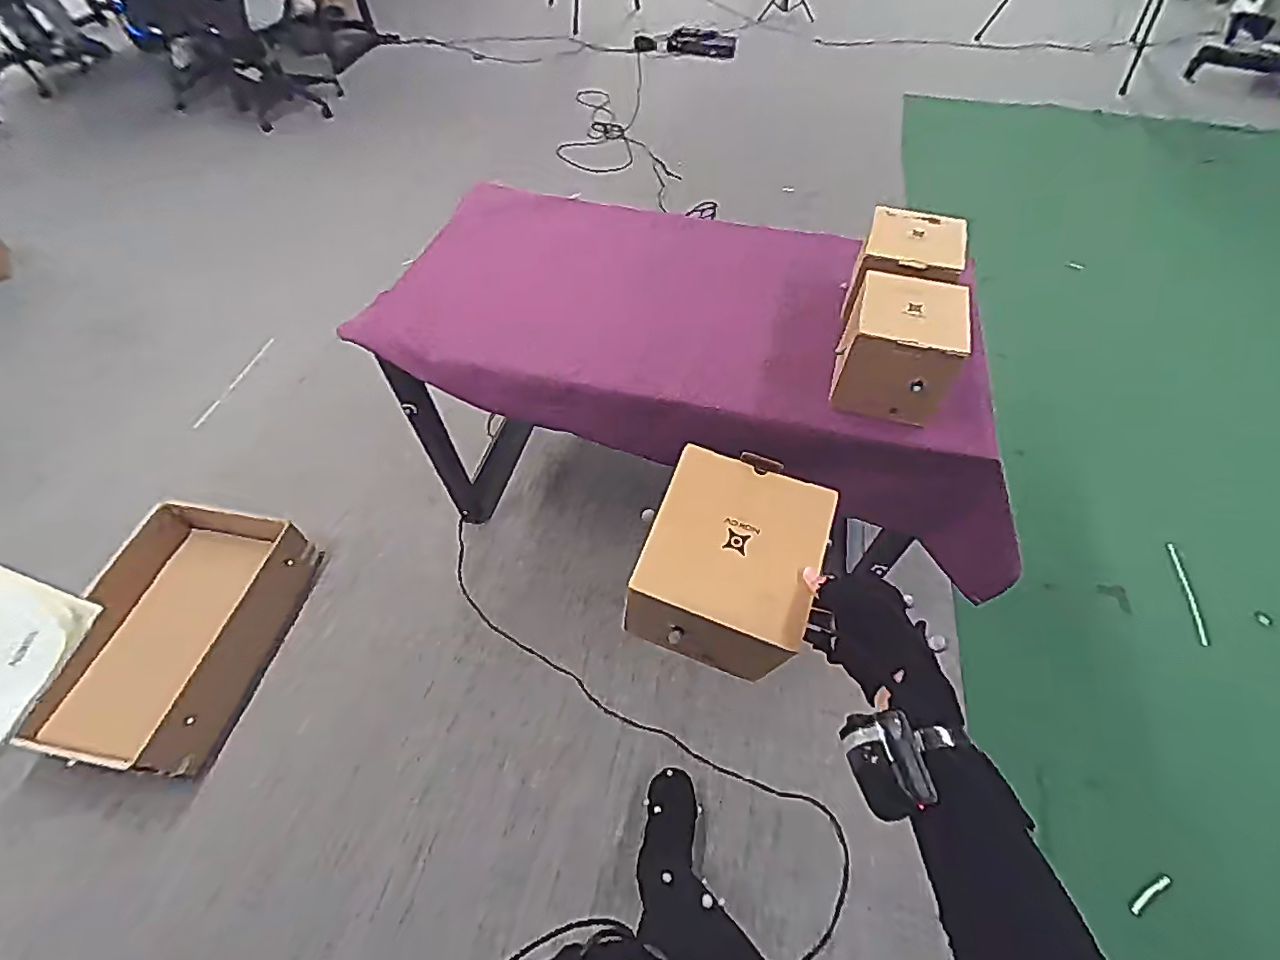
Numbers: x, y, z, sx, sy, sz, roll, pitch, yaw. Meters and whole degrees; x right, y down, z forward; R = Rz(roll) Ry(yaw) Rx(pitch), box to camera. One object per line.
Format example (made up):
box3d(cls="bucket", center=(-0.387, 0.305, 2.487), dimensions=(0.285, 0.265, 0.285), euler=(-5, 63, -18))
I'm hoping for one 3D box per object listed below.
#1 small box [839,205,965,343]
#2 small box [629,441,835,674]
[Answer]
box3d(cls="small box", center=(0.495, -0.392, 1.039), dimensions=(0.168, 0.176, 0.179), euler=(17, 58, 12))
box3d(cls="small box", center=(0.093, 0.093, 0.600), dimensions=(0.168, 0.176, 0.179), euler=(20, 60, 8))
